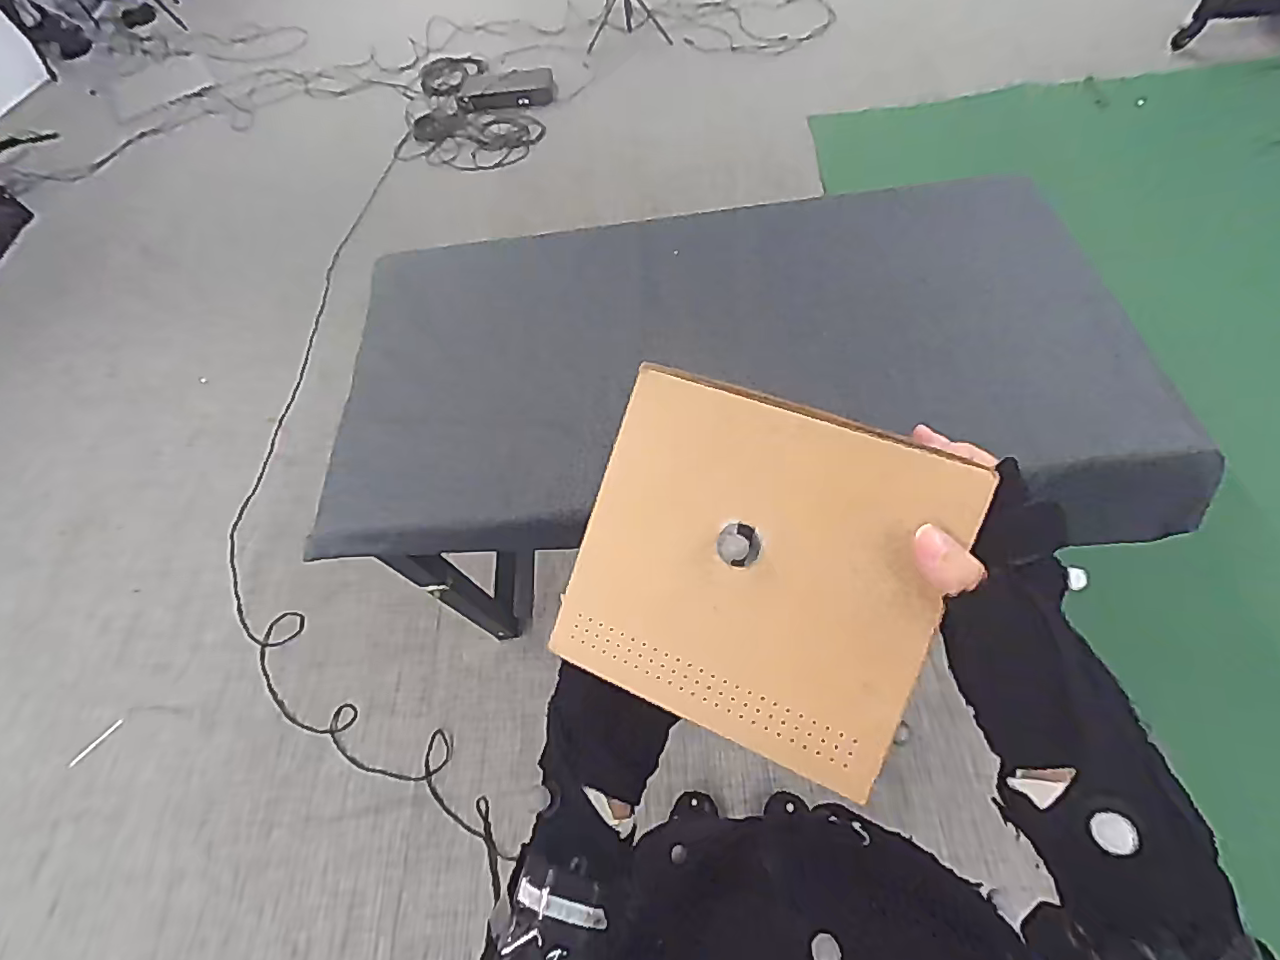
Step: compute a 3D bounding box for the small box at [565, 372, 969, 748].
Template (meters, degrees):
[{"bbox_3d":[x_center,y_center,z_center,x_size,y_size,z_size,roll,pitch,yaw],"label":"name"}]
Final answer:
[{"bbox_3d":[0.077,0.045,0.361,0.179,0.168,0.176,19,94,16],"label":"small box"}]
